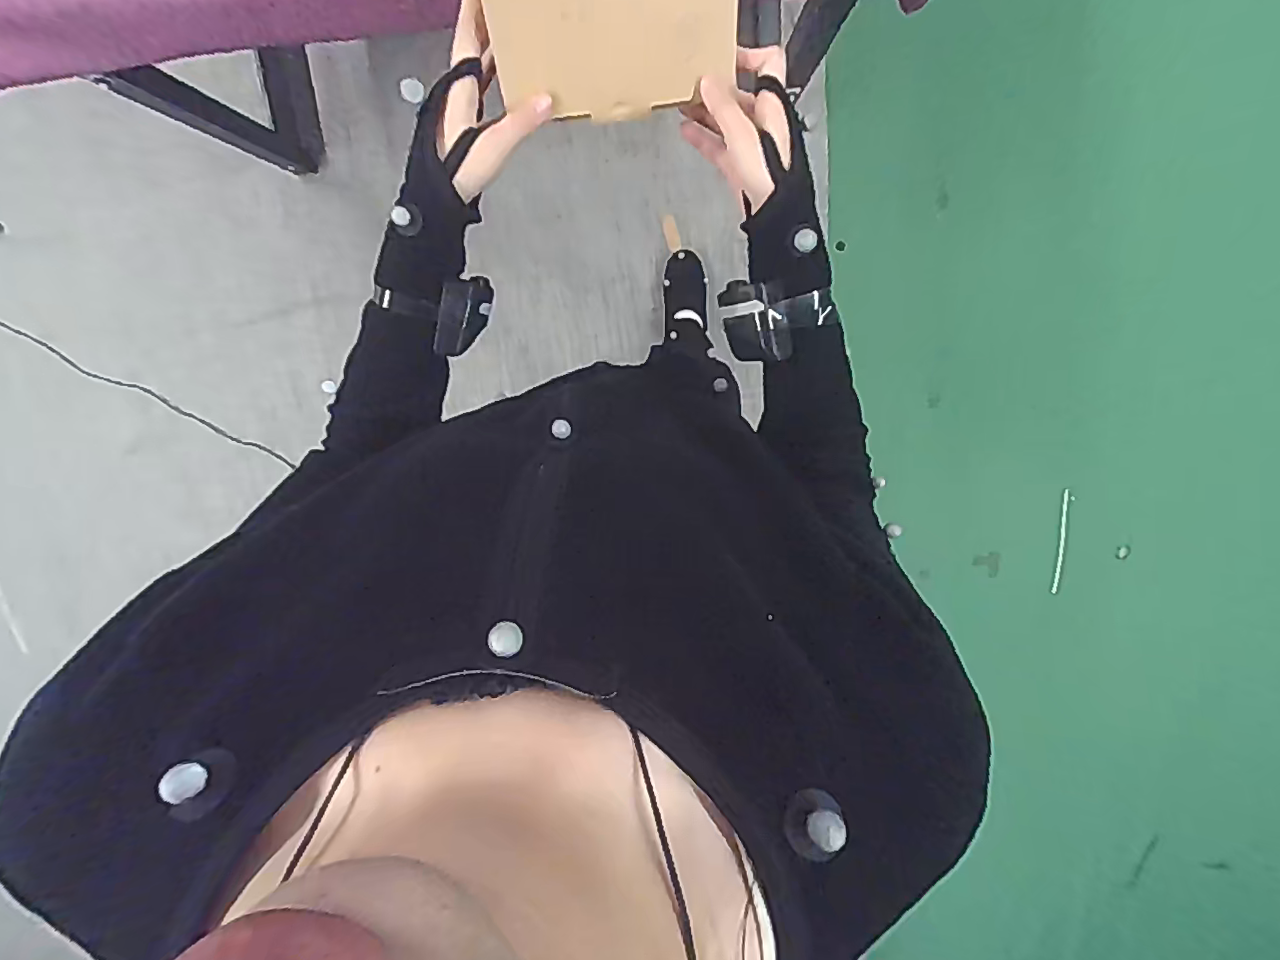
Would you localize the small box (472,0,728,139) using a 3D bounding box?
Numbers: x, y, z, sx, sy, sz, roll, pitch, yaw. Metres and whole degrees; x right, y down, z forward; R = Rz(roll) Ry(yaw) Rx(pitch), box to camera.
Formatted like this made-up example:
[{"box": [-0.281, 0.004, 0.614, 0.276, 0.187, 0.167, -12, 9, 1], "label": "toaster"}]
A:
[{"box": [-0.034, -0.374, 0.384, 0.168, 0.176, 0.179, -9, 137, -2], "label": "small box"}]
